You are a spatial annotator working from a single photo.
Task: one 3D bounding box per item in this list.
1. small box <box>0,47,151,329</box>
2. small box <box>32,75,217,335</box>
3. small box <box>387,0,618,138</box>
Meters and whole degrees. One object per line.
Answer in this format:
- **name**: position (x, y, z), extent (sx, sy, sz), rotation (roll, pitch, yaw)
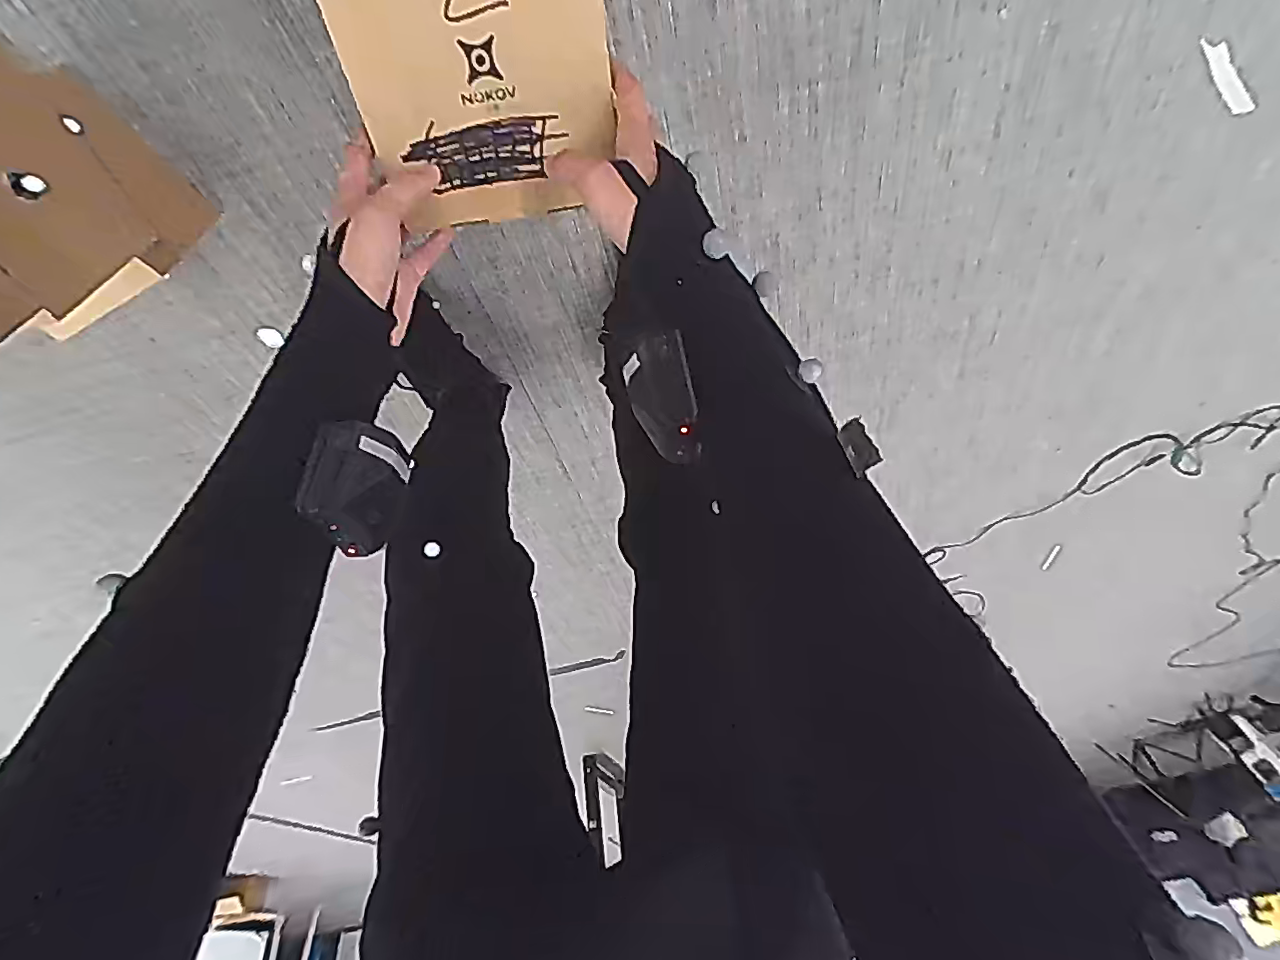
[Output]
- **small box**: position (-0.561, -0.230, 0.424), extent (0.168, 0.176, 0.179), rotation (-11, 138, 2)
- **small box**: position (-0.621, -0.298, 0.581), extent (0.168, 0.176, 0.179), rotation (-22, 137, 13)
- **small box**: position (-0.130, -0.457, 0.510), extent (0.179, 0.176, 0.168), rotation (-15, 138, 3)
